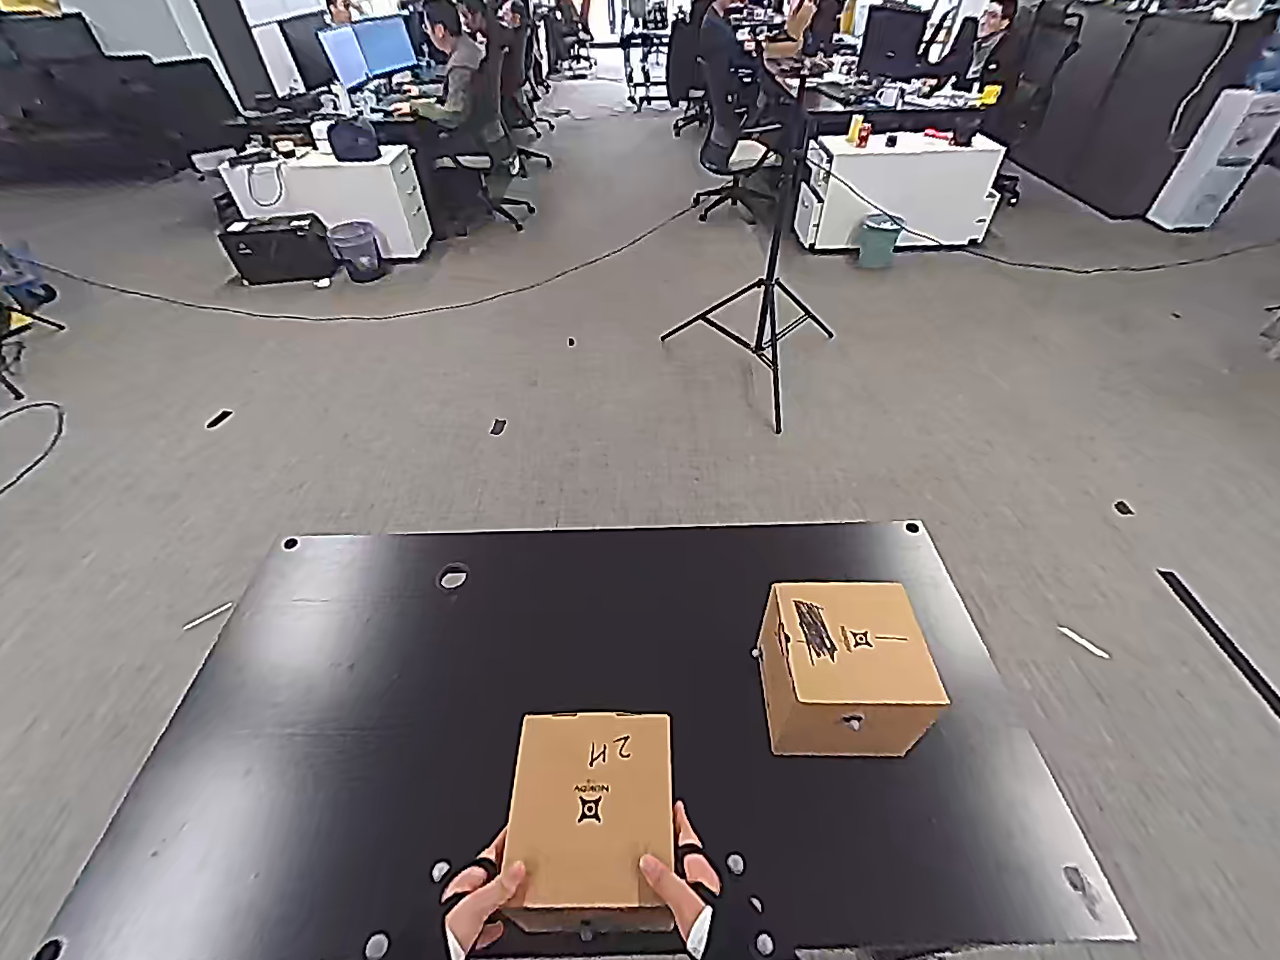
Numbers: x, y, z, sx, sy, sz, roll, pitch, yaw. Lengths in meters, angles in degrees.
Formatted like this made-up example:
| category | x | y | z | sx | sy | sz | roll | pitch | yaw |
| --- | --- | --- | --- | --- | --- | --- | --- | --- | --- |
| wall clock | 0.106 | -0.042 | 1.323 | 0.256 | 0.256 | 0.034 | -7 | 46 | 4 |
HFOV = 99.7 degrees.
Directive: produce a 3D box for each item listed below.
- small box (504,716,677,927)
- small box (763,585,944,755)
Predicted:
| category | x | y | z | sx | sy | sz | roll | pitch | yaw |
| --- | --- | --- | --- | --- | --- | --- | --- | --- | --- |
| small box | -0.043 | 0.388 | 0.614 | 0.168 | 0.176 | 0.179 | 0 | 44 | 0 |
| small box | 0.269 | 0.259 | 0.735 | 0.179 | 0.176 | 0.168 | 0 | 44 | 1 |
